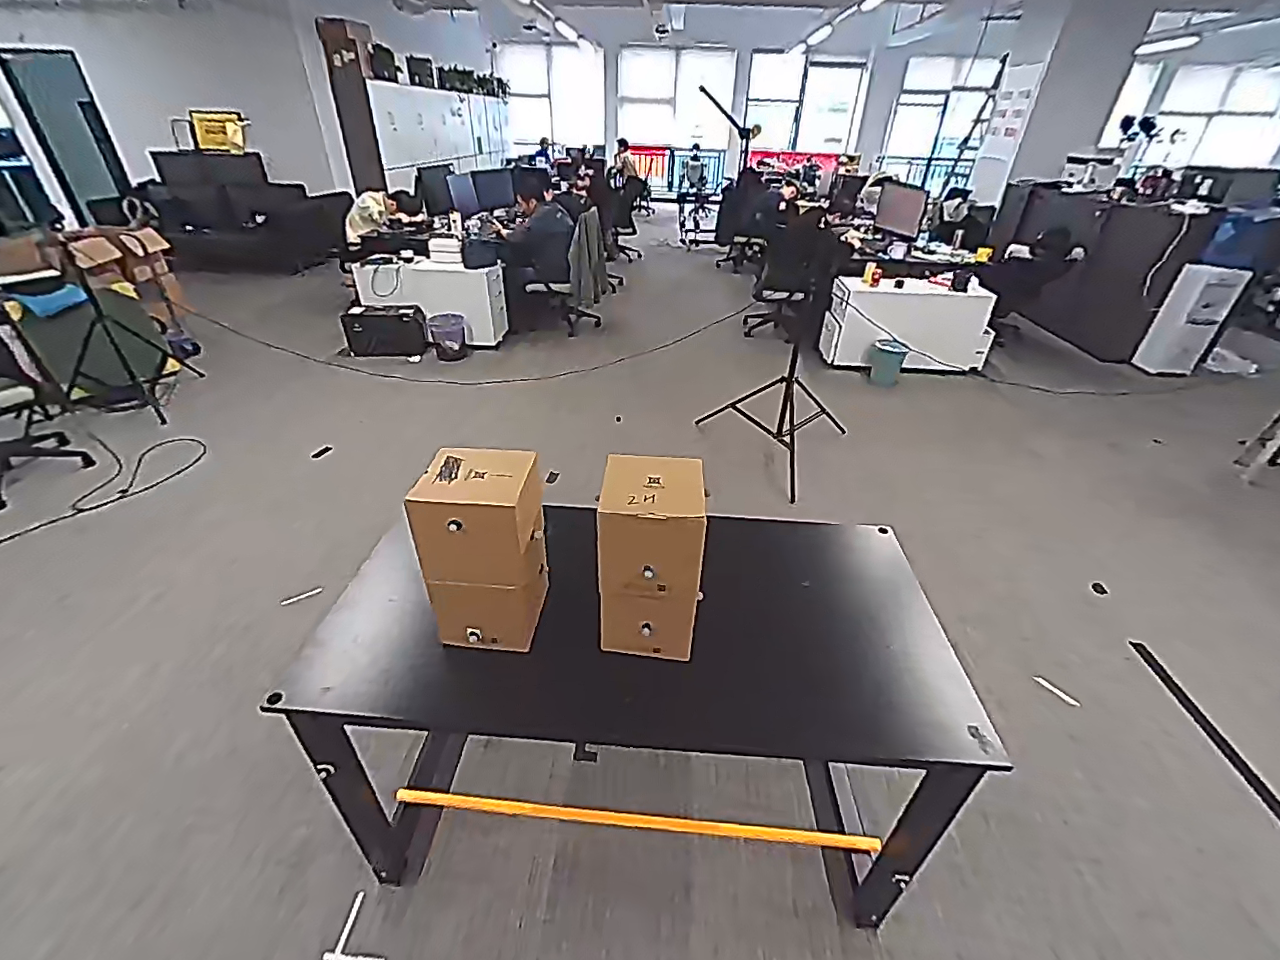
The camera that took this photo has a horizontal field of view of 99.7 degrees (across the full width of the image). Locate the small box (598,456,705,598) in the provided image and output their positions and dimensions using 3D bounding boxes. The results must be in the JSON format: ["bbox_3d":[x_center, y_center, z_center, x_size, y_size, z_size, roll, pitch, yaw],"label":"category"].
[{"bbox_3d":[0.019,0.077,0.924,0.168,0.176,0.179,2,33,2],"label":"small box"}]

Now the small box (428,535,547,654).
[{"bbox_3d":[-0.276,0.201,1.025,0.168,0.176,0.179,2,34,3],"label":"small box"}]

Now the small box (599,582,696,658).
[{"bbox_3d":[0.022,0.211,1.022,0.168,0.176,0.179,5,34,6],"label":"small box"}]

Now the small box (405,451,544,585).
[{"bbox_3d":[-0.272,0.064,0.934,0.179,0.176,0.168,3,33,2],"label":"small box"}]
